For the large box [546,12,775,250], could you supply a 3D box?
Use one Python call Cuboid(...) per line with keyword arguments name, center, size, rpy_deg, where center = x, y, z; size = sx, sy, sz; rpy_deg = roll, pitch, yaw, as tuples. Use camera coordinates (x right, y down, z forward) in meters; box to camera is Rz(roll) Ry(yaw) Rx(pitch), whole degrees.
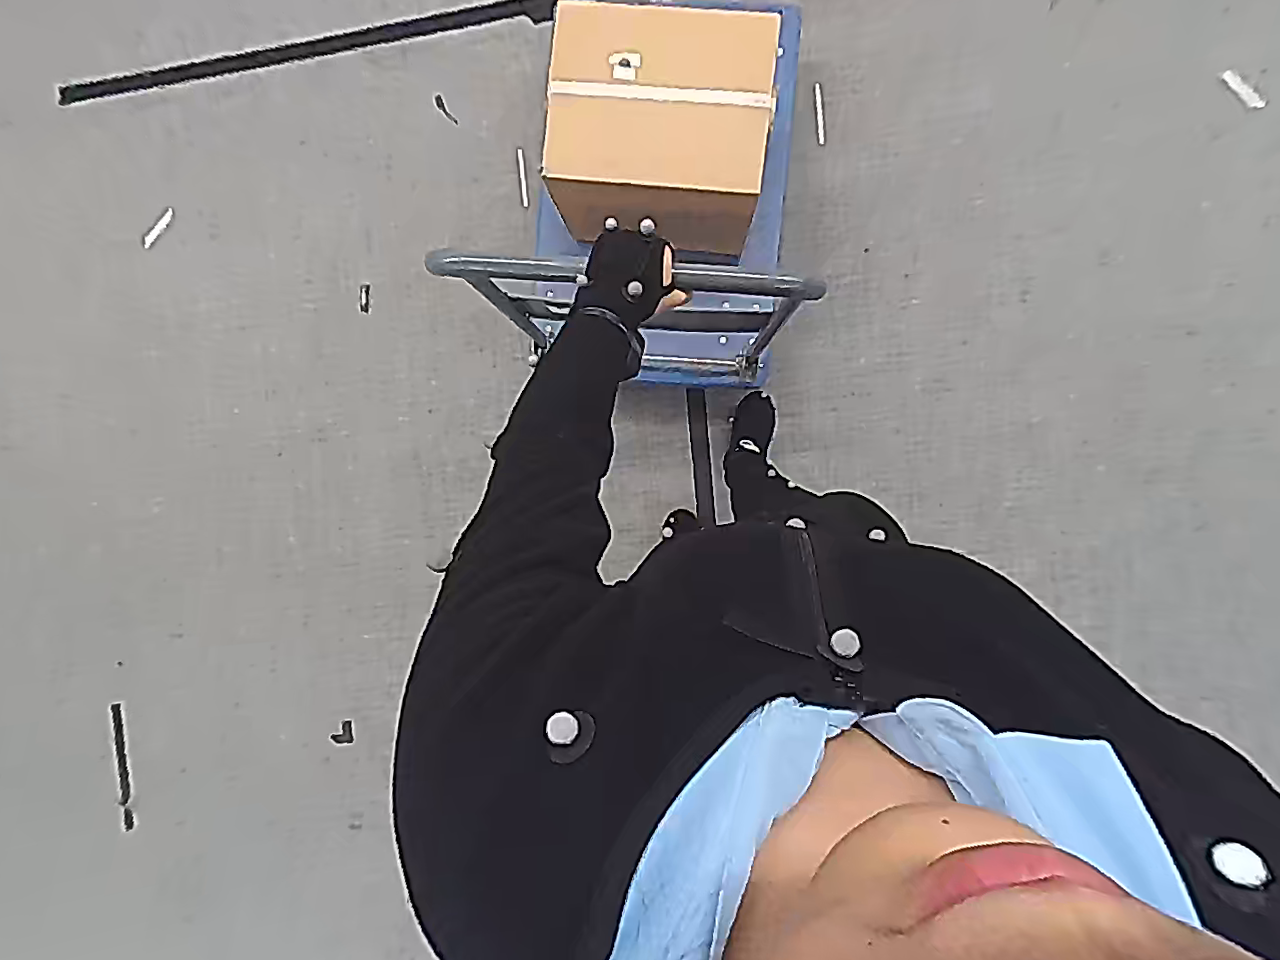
Cuboid(name="large box", center=(0.048, -0.701, 1.136), size=(0.408, 0.320, 0.320), rpy_deg=(6, 92, 5))
